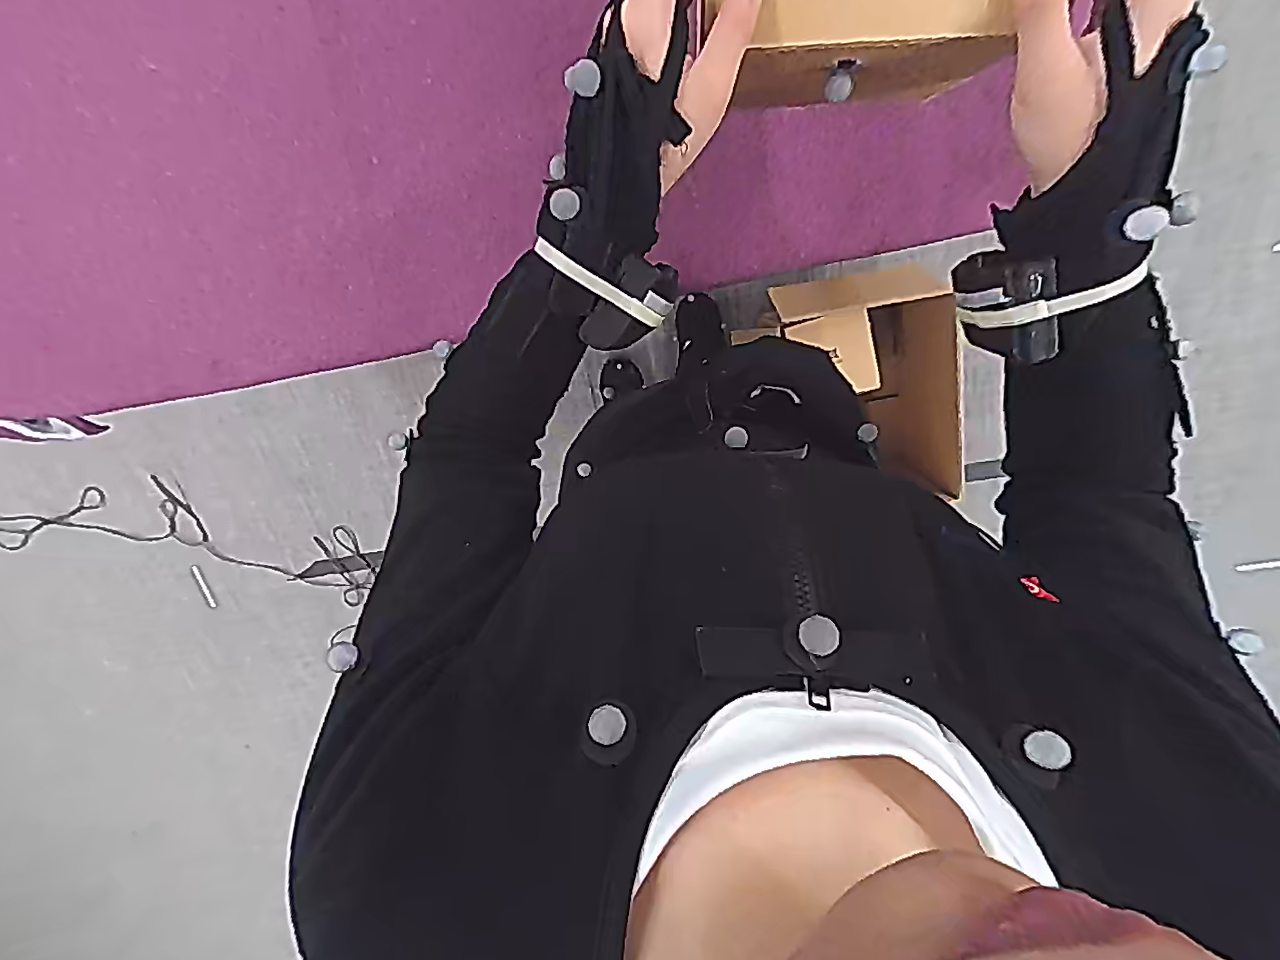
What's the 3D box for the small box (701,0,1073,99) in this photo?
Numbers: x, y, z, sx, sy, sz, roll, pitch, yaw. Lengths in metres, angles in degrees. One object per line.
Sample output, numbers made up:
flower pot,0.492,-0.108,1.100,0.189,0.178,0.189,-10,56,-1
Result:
small box,0.125,-0.328,0.302,0.179,0.176,0.168,1,116,6
